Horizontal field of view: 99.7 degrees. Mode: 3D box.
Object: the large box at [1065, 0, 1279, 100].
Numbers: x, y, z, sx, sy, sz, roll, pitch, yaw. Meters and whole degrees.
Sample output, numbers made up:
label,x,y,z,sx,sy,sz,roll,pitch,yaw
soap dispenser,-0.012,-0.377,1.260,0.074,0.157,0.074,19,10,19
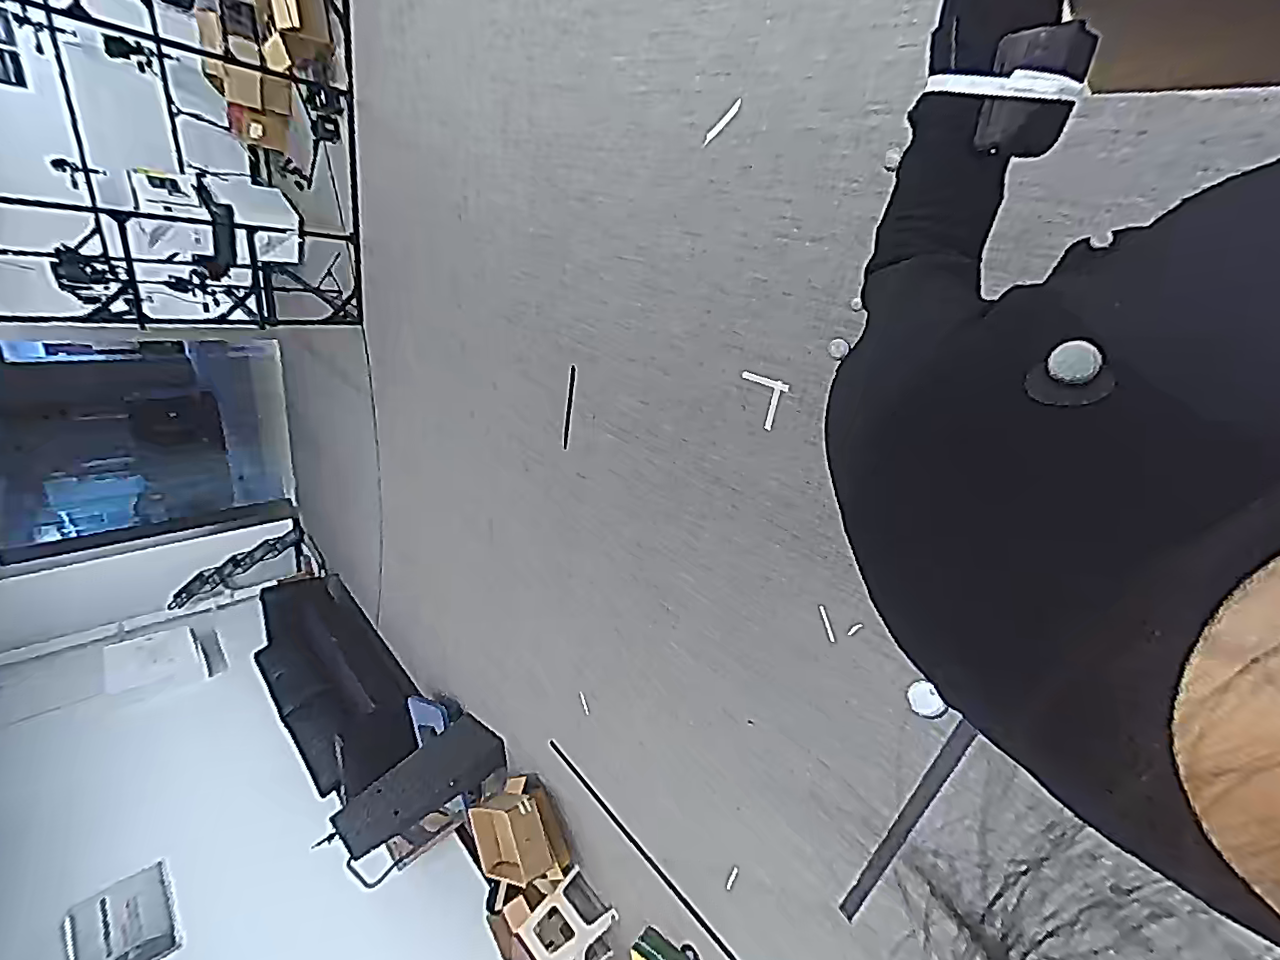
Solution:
label,x,y,z,sx,sy,sz,roll,pitch,yaw
large box,0.499,-0.406,0.251,0.408,0.320,0.320,23,122,34
